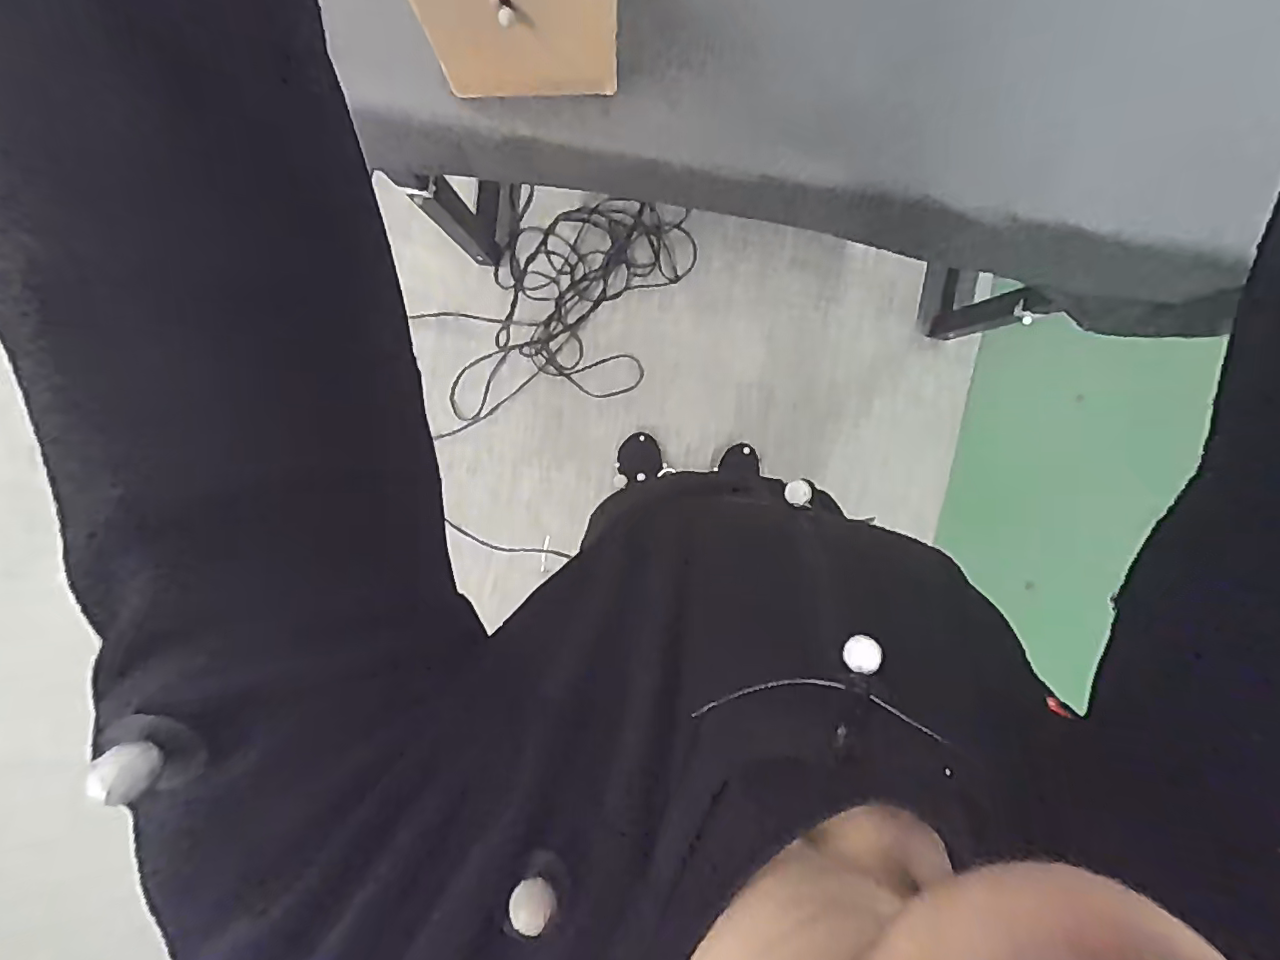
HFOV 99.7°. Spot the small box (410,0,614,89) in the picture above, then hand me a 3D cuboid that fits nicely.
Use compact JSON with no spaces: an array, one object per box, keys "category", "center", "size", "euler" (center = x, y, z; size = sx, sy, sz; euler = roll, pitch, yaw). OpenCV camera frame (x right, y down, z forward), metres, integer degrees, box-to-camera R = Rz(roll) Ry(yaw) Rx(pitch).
[{"category":"small box","center":[-0.112,-0.490,0.491],"size":[0.179,0.176,0.168],"euler":[-2,96,-1]}]
